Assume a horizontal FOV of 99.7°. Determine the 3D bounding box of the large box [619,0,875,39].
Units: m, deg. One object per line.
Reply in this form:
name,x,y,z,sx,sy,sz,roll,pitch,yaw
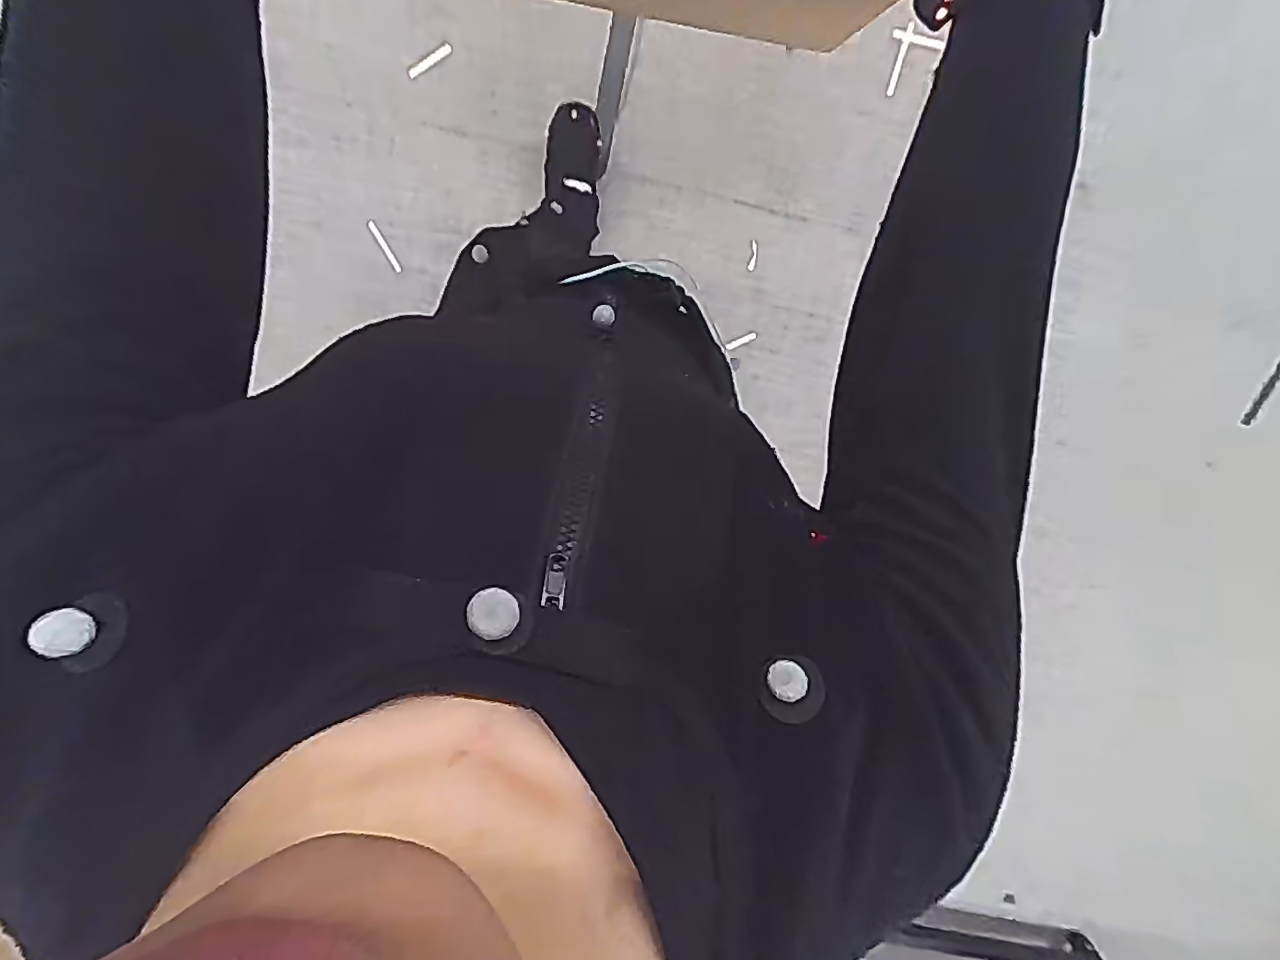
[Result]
large box,0.035,-0.571,0.383,0.408,0.320,0.320,9,120,-3
